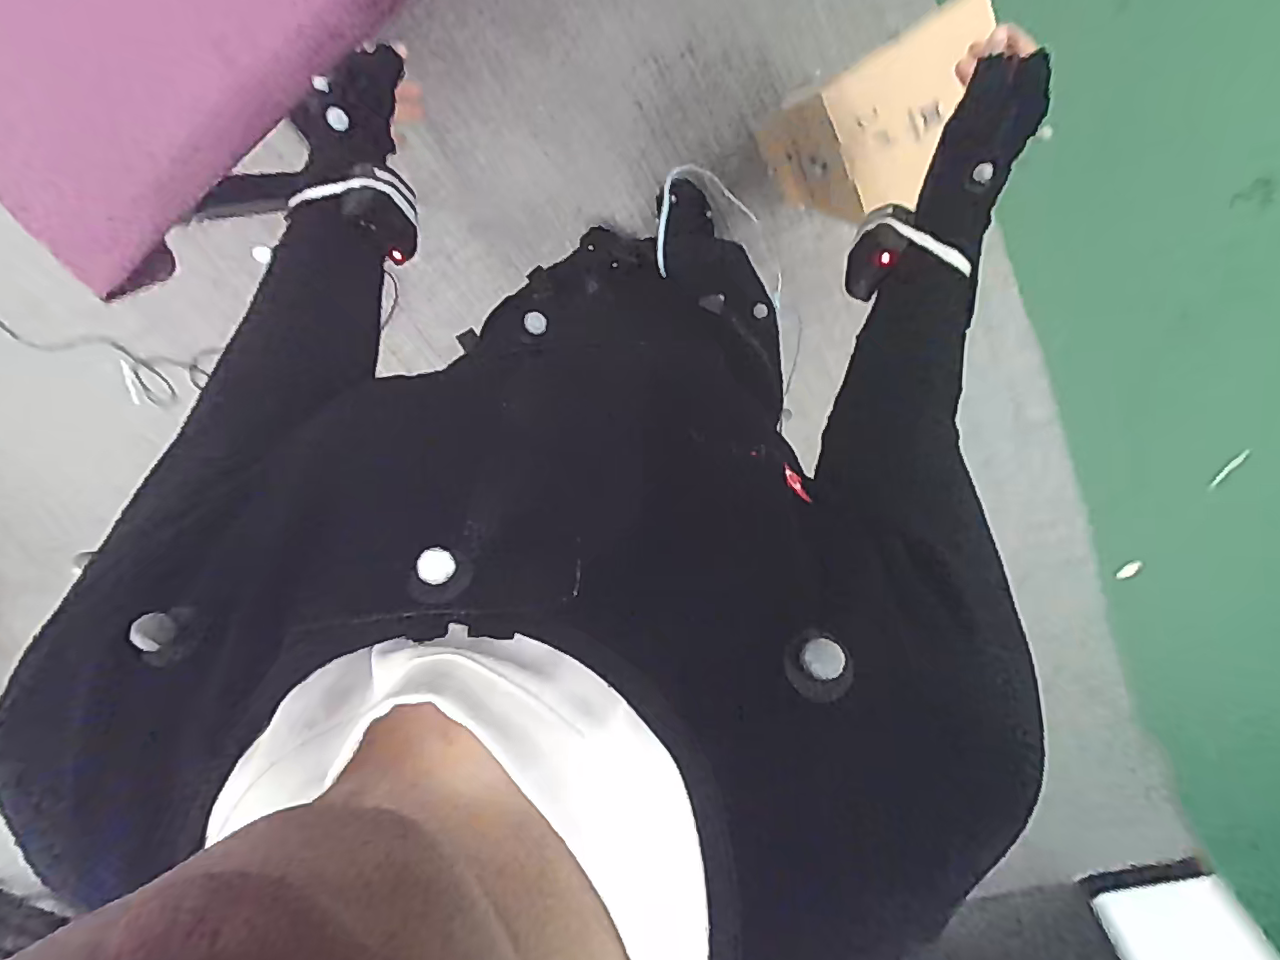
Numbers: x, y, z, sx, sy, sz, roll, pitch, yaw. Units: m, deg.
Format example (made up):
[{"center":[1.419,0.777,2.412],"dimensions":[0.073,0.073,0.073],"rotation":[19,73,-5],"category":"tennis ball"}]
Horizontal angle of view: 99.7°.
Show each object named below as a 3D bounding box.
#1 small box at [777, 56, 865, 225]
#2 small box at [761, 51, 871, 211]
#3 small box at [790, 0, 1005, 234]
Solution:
[{"center":[0.322,-0.519,0.820],"dimensions":[0.168,0.176,0.179],"rotation":[-23,116,17],"category":"small box"},{"center":[0.327,-0.607,0.957],"dimensions":[0.168,0.176,0.179],"rotation":[-22,116,17],"category":"small box"},{"center":[0.308,-0.439,0.676],"dimensions":[0.179,0.176,0.168],"rotation":[-25,115,18],"category":"small box"}]
